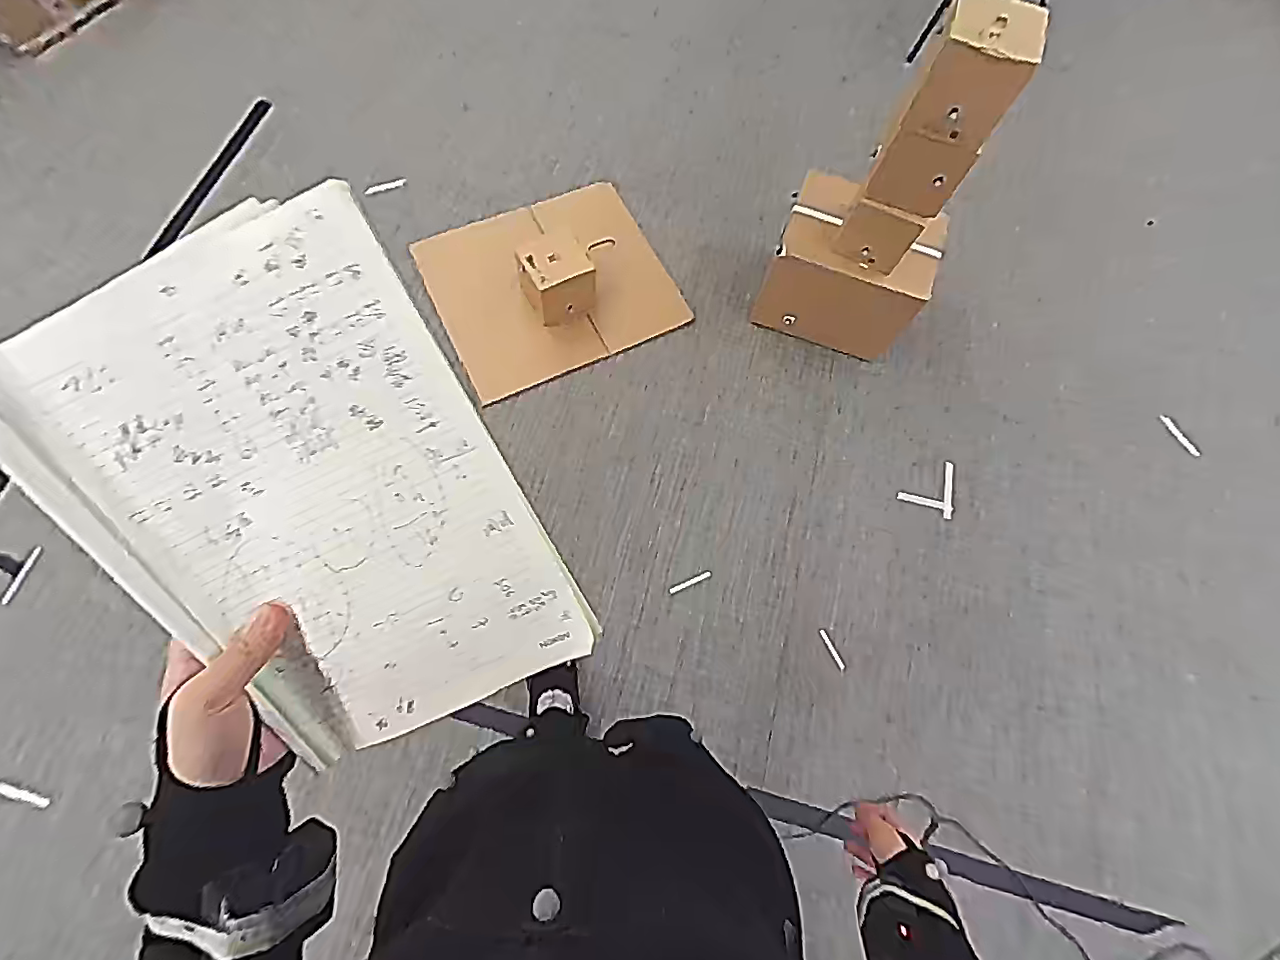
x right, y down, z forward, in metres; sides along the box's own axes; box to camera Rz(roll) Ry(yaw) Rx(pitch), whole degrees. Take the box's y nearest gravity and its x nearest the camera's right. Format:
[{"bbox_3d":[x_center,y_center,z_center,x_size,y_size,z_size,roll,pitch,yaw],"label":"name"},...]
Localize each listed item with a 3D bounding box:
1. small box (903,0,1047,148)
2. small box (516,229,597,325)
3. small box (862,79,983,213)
[{"bbox_3d":[0.633,-0.790,1.038,0.168,0.176,0.179,20,71,4],"label":"small box"},{"bbox_3d":[-0.241,-0.585,1.572,0.179,0.176,0.168,-27,76,-14],"label":"small box"},{"bbox_3d":[0.621,-0.725,1.189,0.179,0.176,0.168,18,70,3],"label":"small box"}]
